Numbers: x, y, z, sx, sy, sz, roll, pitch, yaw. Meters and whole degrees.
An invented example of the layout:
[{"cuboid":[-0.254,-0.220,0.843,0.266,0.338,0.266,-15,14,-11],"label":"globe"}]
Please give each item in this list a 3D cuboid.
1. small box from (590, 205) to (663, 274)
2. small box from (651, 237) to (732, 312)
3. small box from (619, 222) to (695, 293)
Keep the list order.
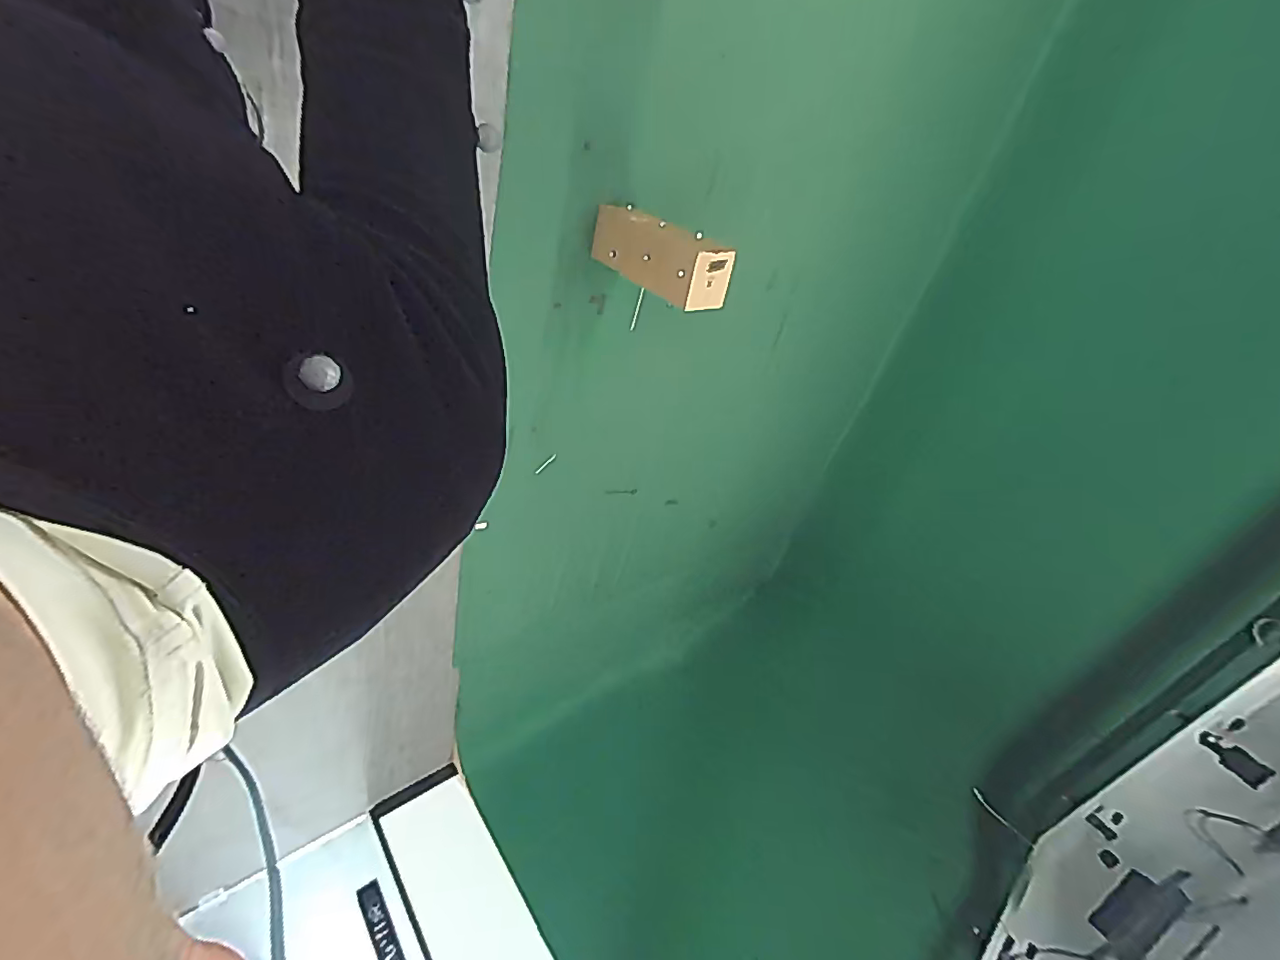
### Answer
[{"cuboid":[-0.052,-0.820,1.854,0.168,0.176,0.179,-14,133,-40],"label":"small box"},{"cuboid":[0.153,-0.640,1.674,0.168,0.176,0.179,-17,135,-36],"label":"small box"},{"cuboid":[0.049,-0.726,1.768,0.168,0.176,0.179,-16,133,-38],"label":"small box"}]
